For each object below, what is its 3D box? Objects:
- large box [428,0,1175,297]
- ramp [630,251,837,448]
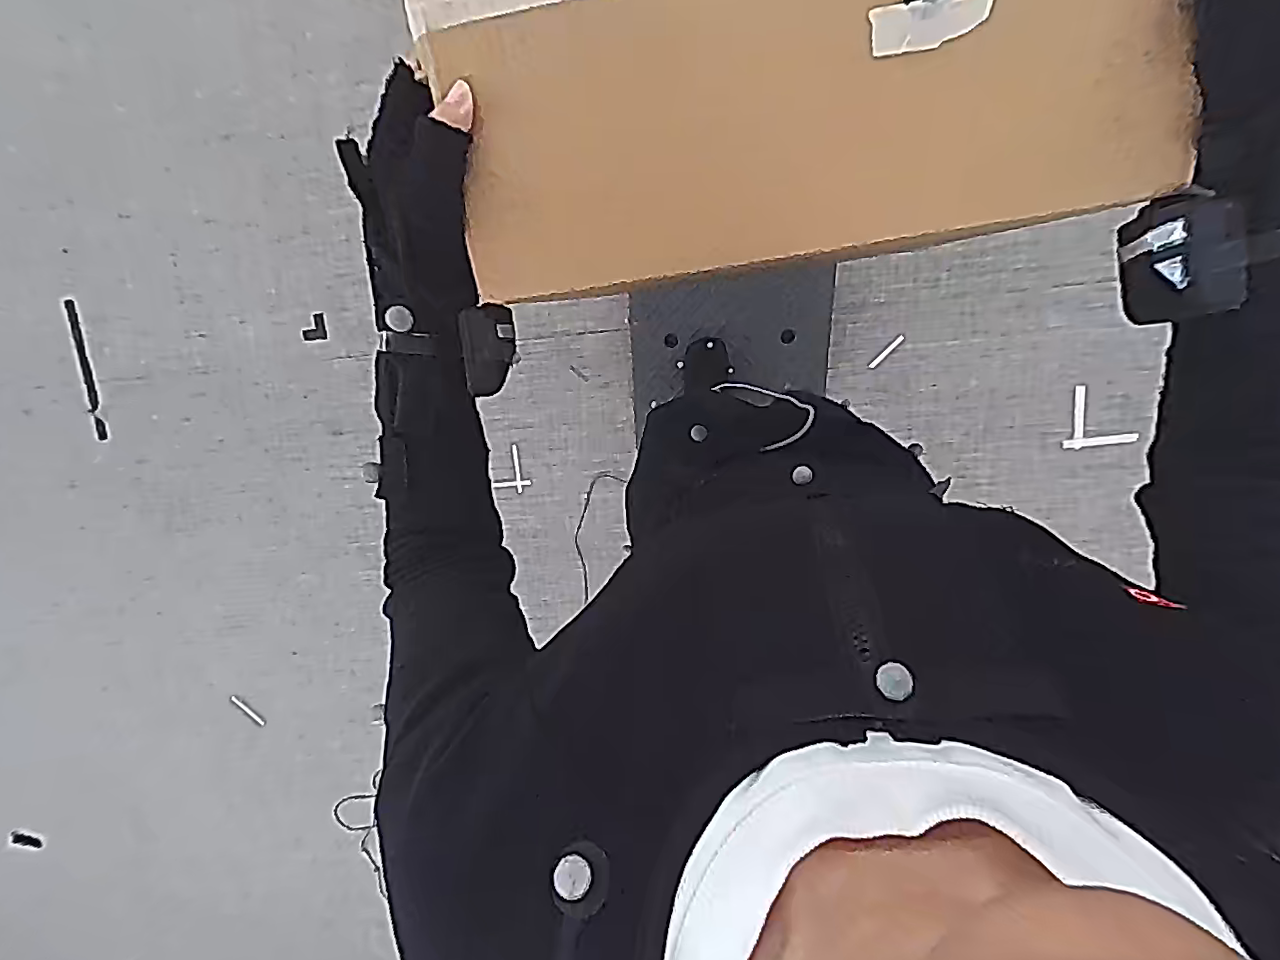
[{"bbox_3d":[0.084,-0.338,0.428,0.408,0.320,0.320,-7,109,7],"label":"large box"},{"bbox_3d":[0.214,-0.552,1.266,0.509,0.206,0.991,-3,103,5],"label":"ramp"}]
